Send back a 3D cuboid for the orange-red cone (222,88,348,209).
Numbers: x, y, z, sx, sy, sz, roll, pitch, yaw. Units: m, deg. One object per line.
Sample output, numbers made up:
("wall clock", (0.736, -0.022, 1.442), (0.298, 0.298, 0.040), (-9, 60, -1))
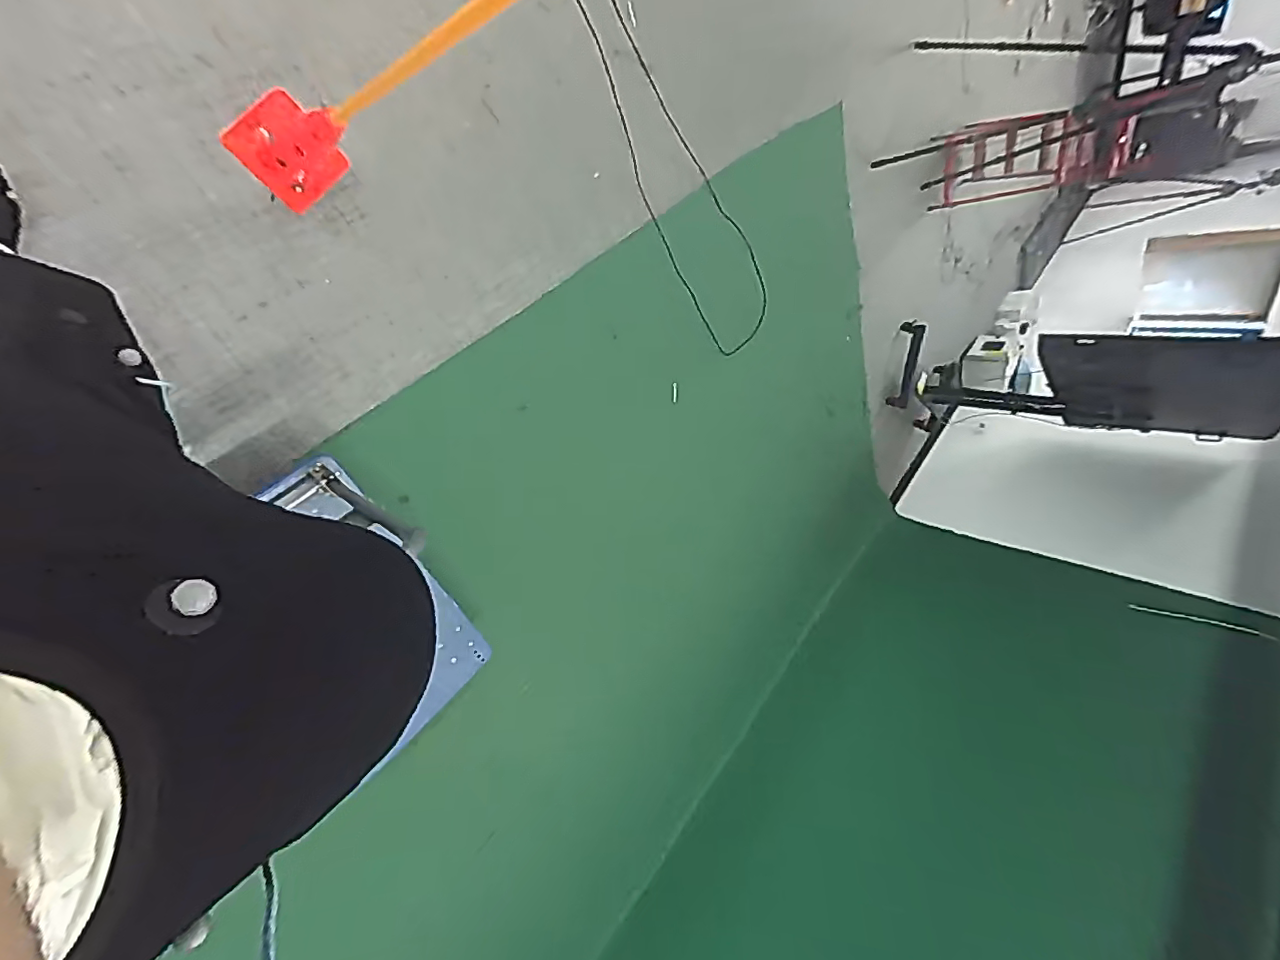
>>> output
("orange-red cone", (-0.709, -0.741, 1.161), (0.199, 0.360, 0.198), (-57, 136, -17))
